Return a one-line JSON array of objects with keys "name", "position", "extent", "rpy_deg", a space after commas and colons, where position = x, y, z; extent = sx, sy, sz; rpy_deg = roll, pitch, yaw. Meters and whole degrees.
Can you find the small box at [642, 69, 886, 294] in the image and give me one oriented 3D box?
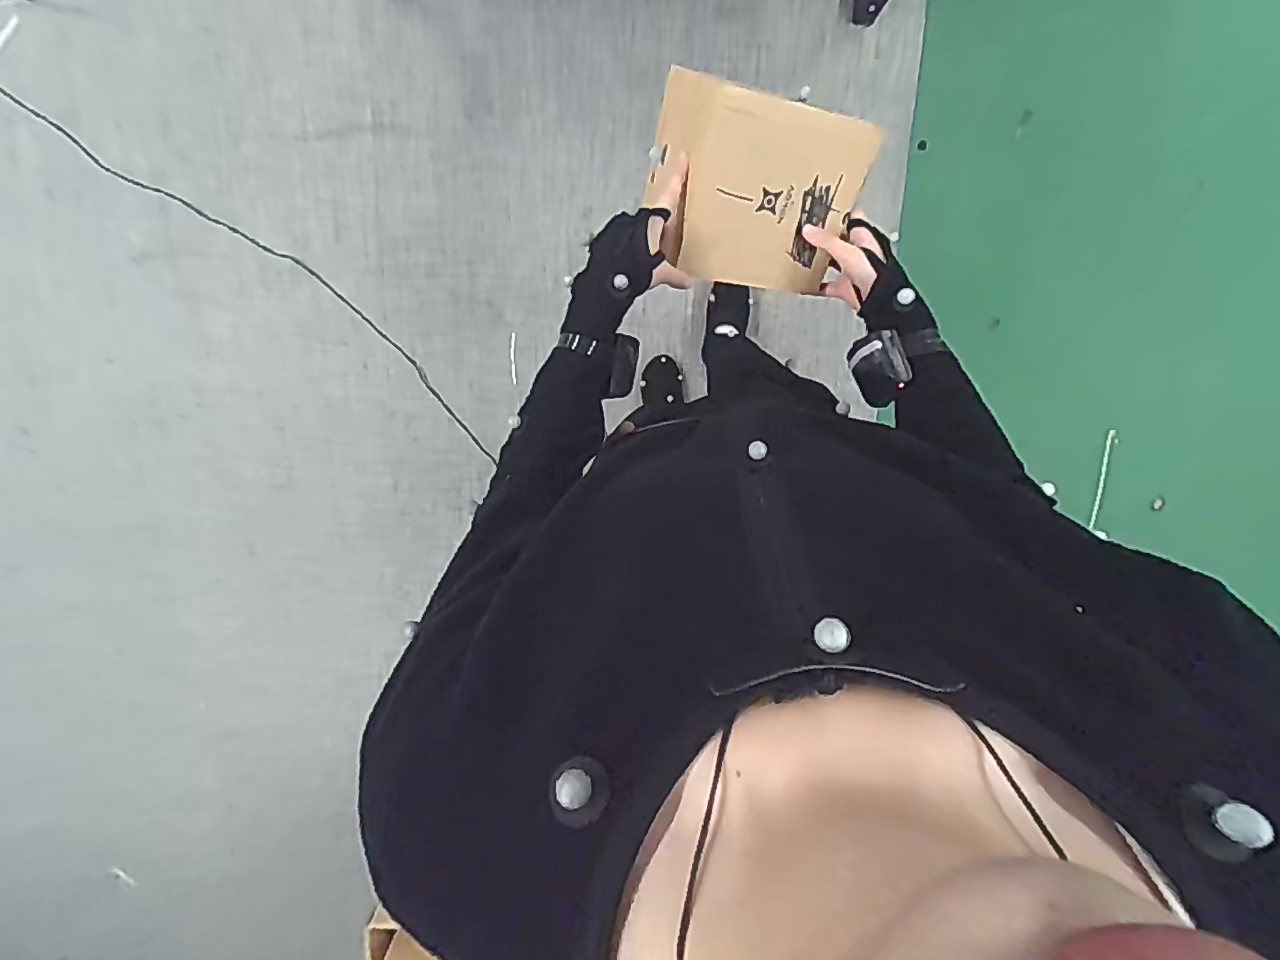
[{"name": "small box", "position": [0.116, -0.324, 0.587], "extent": [0.179, 0.176, 0.168], "rpy_deg": [2, 130, -17]}]
